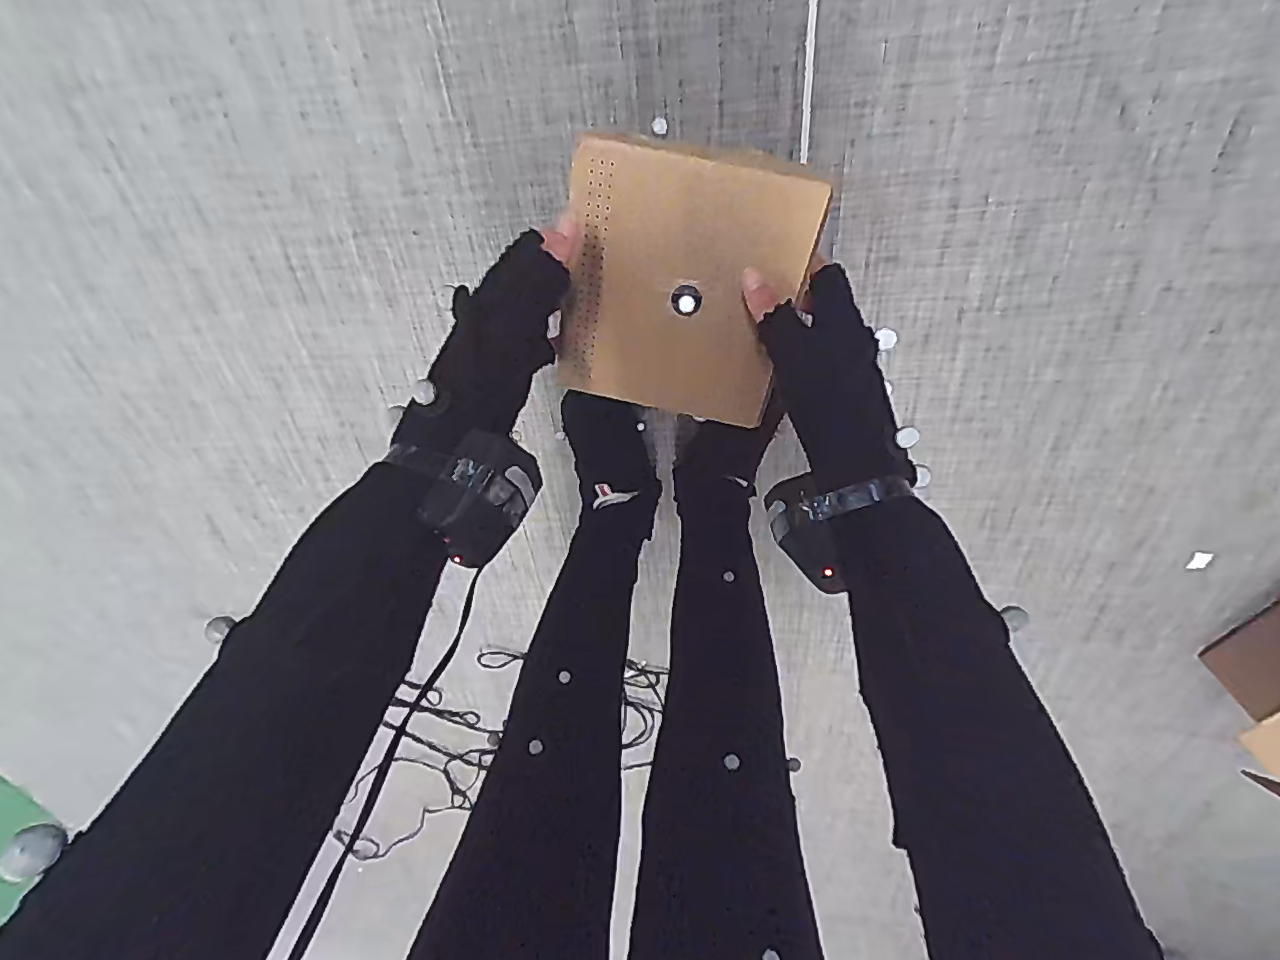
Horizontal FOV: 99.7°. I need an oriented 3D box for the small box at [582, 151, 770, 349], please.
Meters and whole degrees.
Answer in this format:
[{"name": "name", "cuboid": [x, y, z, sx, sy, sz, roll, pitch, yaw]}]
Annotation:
[{"name": "small box", "cuboid": [0.049, -0.260, 0.605, 0.179, 0.176, 0.168, -3, 122, 10]}]
